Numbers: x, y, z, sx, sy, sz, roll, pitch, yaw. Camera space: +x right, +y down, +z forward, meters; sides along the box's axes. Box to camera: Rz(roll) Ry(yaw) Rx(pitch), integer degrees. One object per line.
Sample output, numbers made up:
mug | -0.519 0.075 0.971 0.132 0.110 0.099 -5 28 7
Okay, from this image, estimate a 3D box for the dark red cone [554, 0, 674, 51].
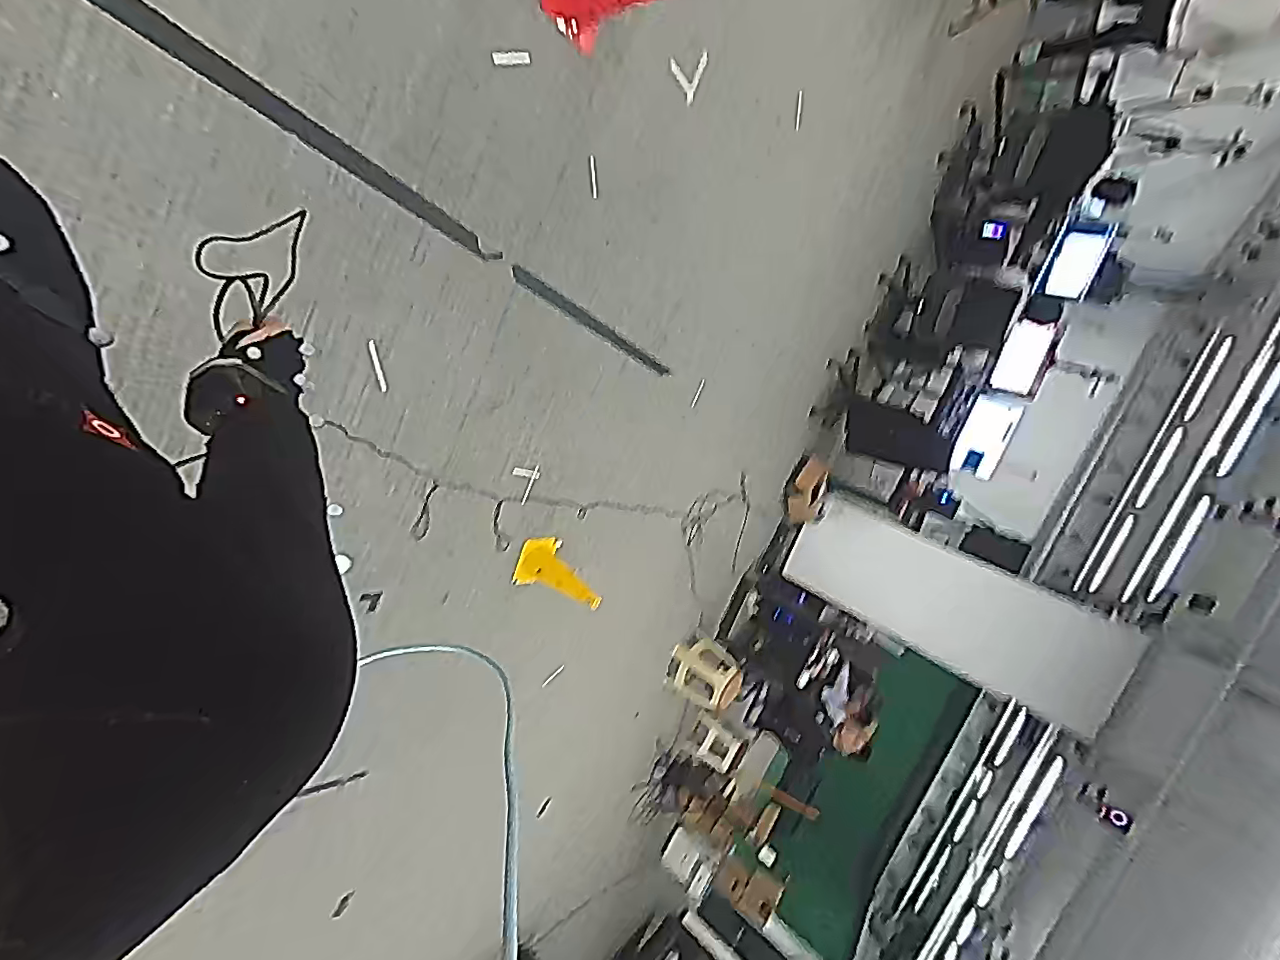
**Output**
dark red cone | -0.013 -1.209 1.318 0.202 0.394 0.201 2 112 -56
